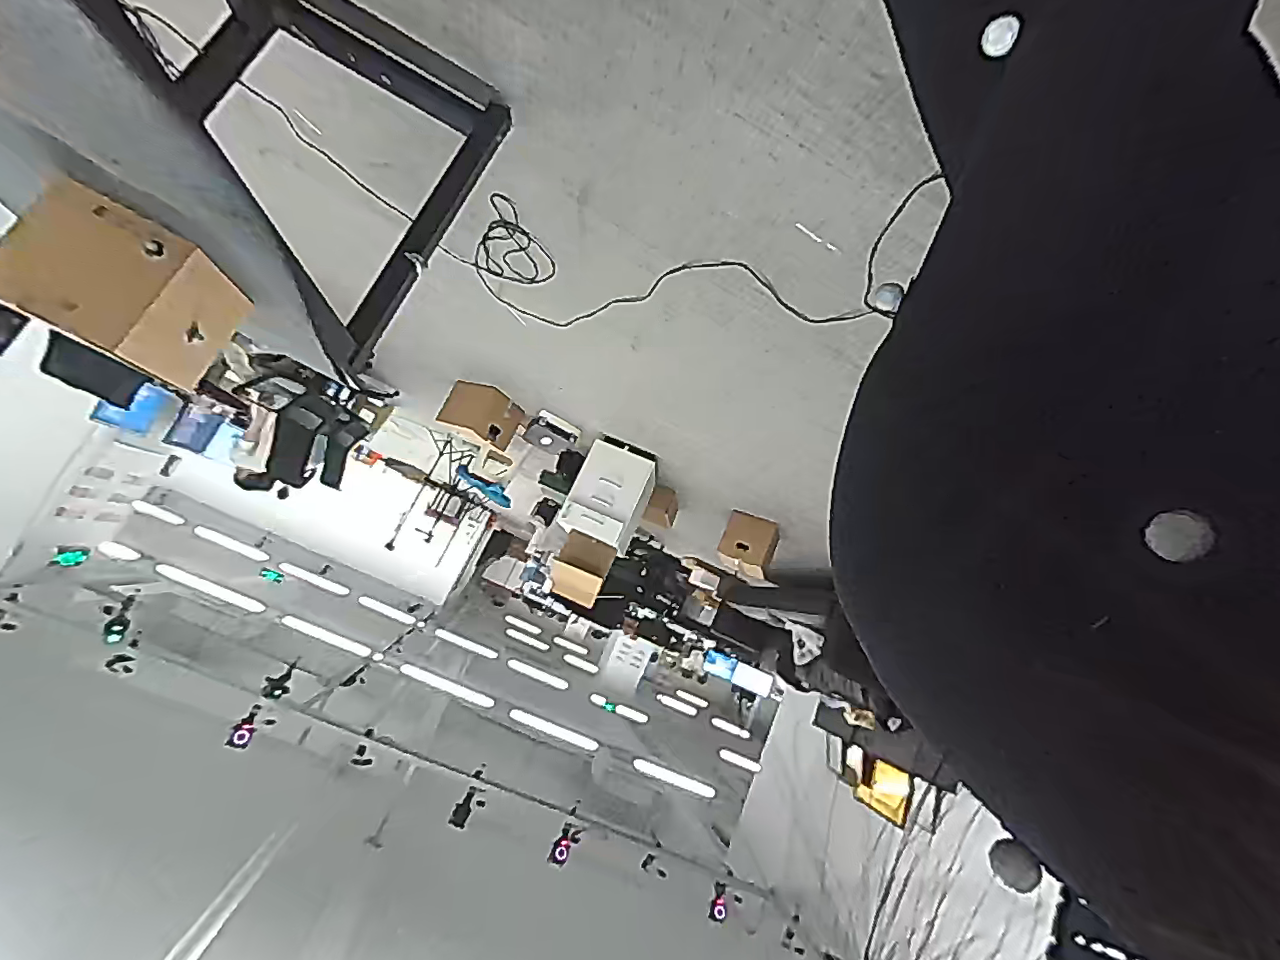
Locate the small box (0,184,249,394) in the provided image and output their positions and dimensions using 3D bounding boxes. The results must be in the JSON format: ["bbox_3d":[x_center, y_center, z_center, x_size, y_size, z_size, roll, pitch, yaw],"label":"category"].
[{"bbox_3d":[-0.678,-0.245,0.720,0.168,0.176,0.179,28,167,-10],"label":"small box"}]
